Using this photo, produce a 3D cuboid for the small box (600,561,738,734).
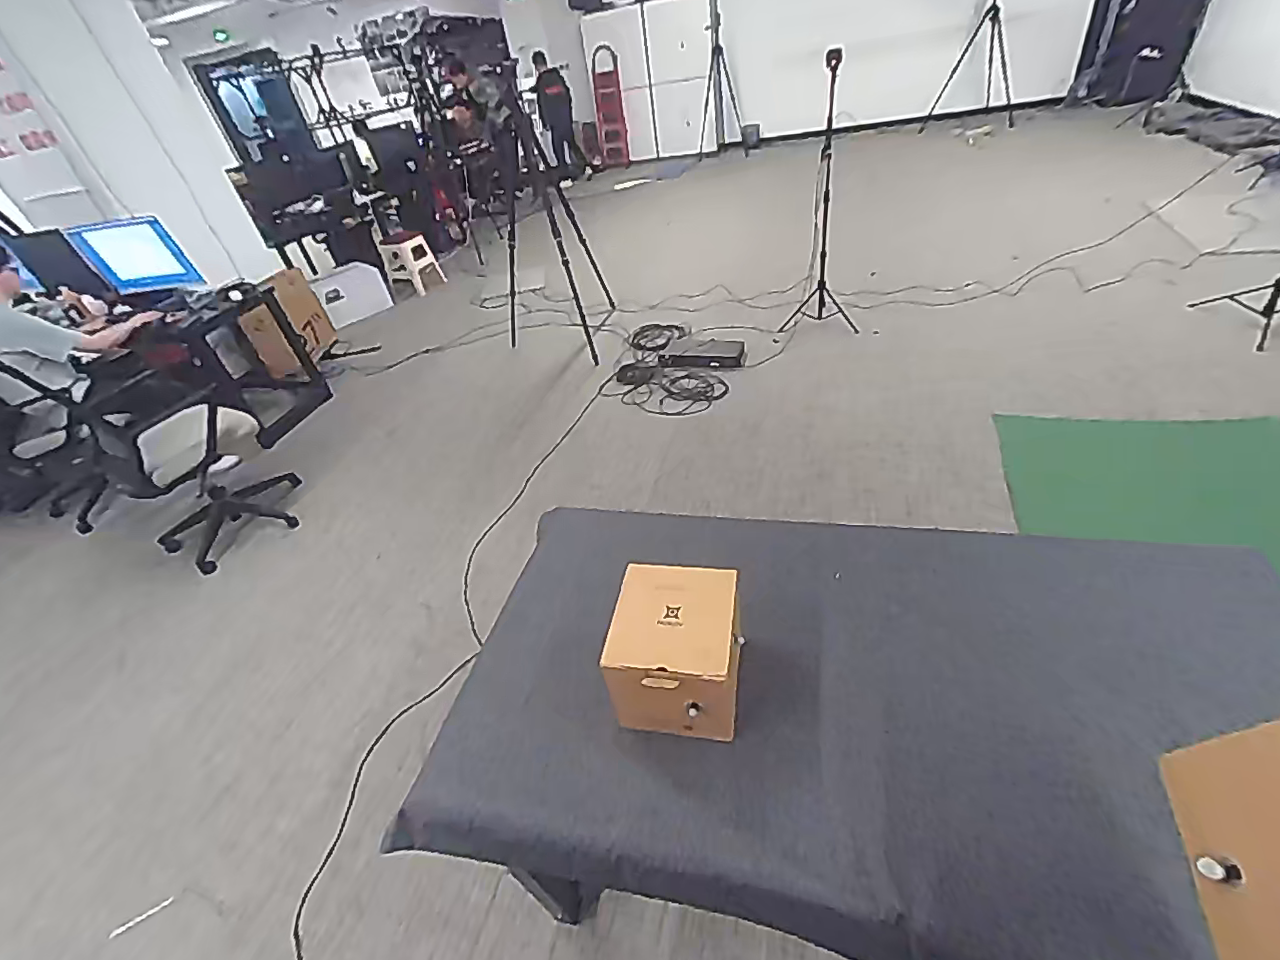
[{"bbox_3d":[0.054,0.242,0.787,0.168,0.176,0.179,2,39,13],"label":"small box"}]
